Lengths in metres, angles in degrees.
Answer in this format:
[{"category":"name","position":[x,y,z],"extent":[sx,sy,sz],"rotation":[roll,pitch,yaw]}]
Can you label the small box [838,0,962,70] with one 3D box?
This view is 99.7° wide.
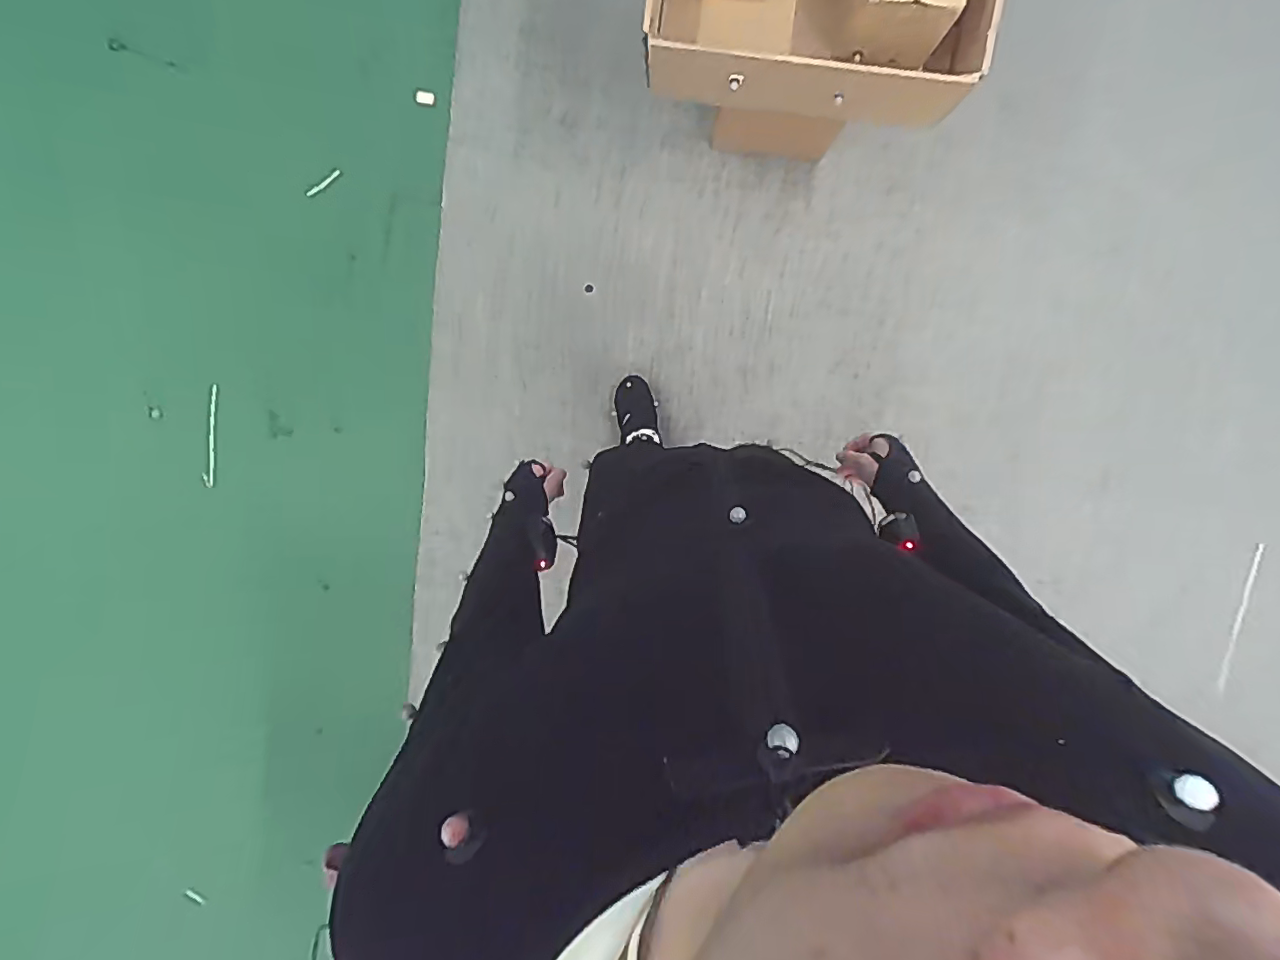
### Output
[{"category":"small box","position":[0.477,-0.896,0.987],"extent":[0.168,0.176,0.179],"rotation":[7,96,0]}]
